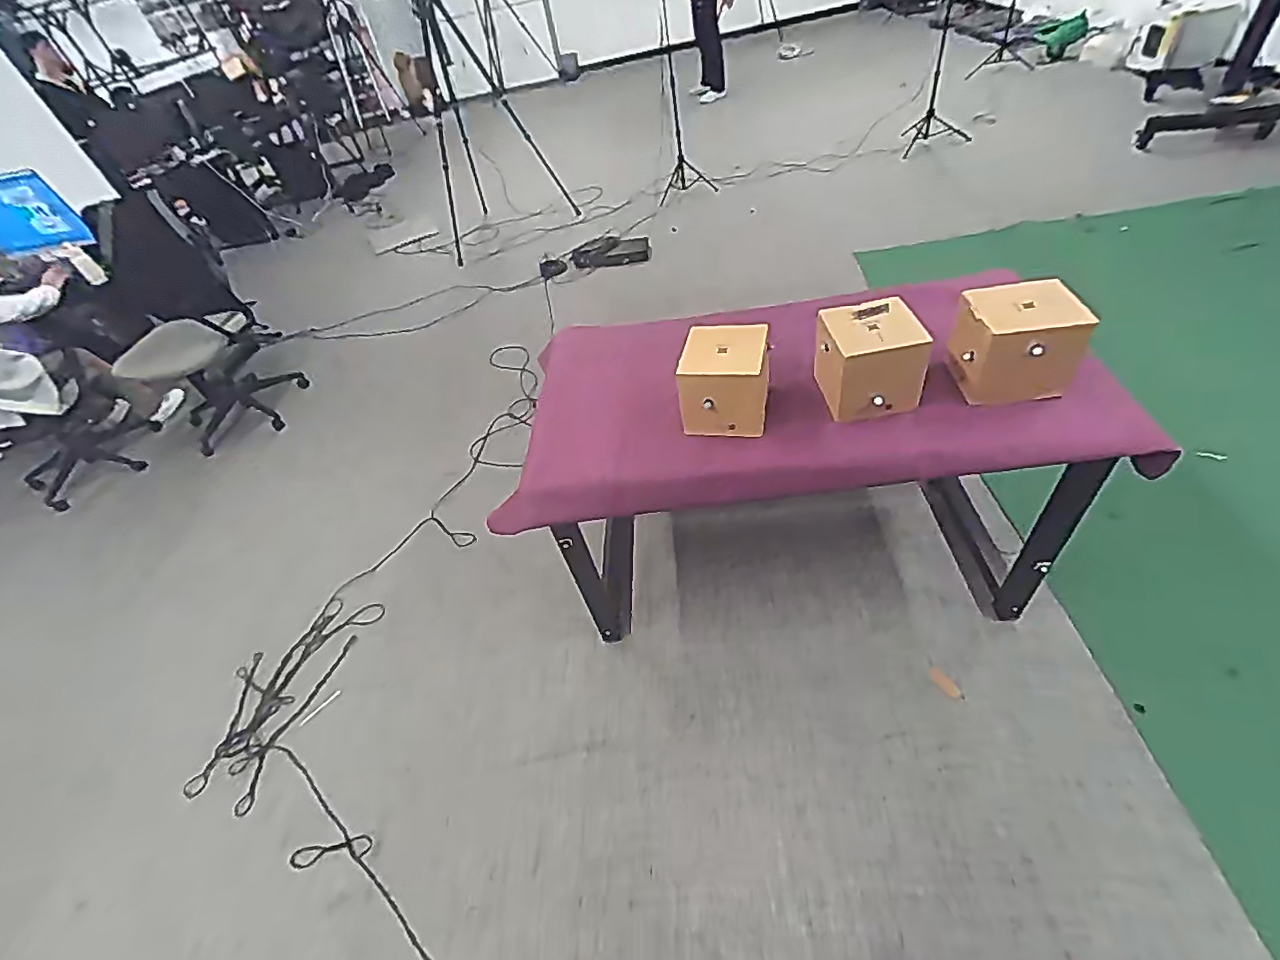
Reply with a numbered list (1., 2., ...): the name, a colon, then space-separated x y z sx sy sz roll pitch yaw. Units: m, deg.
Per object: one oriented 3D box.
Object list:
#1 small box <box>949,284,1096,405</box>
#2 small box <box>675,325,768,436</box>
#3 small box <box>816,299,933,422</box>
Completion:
1. small box: 0.735 -0.262 1.068 0.179 0.176 0.168 -3 45 10
2. small box: 0.182 -0.209 1.152 0.168 0.176 0.179 4 47 17
3. small box: 0.468 -0.244 1.115 0.168 0.176 0.179 -9 46 5
